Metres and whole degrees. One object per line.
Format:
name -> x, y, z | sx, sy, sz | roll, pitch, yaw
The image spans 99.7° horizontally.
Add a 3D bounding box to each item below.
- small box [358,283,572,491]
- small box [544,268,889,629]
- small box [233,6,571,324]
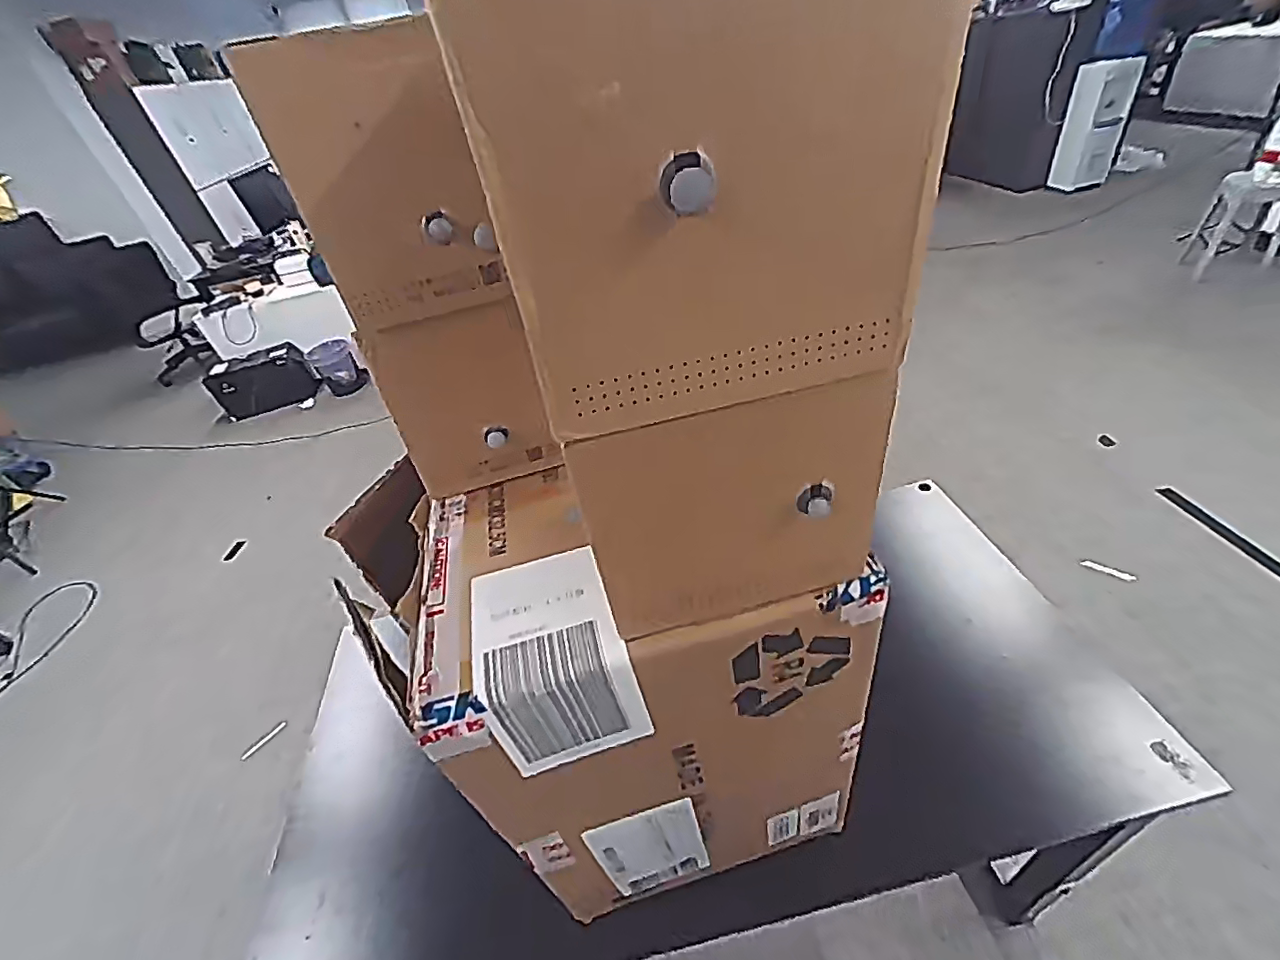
small box -> -0.148, -0.117, 0.535 | 0.168, 0.176, 0.179 | -16, 39, -7
small box -> 0.042, -0.024, 0.383 | 0.179, 0.176, 0.168 | -15, 39, -3
small box -> -0.164, -0.242, 0.428 | 0.168, 0.176, 0.179 | -18, 38, -8
